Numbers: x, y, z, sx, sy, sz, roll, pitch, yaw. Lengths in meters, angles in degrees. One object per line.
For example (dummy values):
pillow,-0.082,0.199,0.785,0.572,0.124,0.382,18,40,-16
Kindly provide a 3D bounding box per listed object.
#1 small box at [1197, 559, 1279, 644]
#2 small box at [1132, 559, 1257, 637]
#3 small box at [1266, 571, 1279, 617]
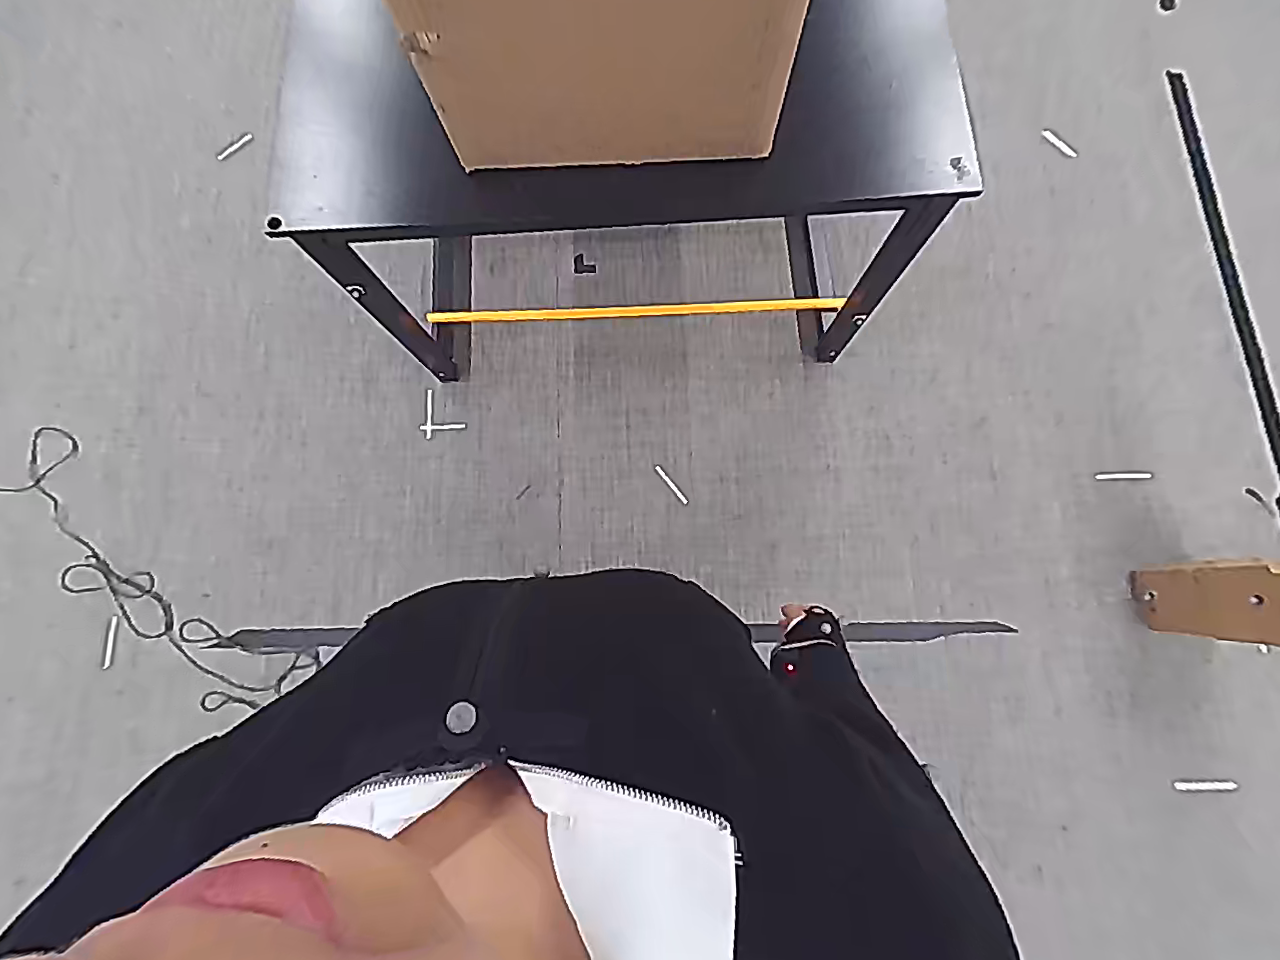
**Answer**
small box,1.422,0.270,1.212,0.168,0.176,0.179,-7,79,1
small box,1.425,0.297,1.374,0.179,0.176,0.168,-9,78,1
small box,1.413,0.246,1.049,0.179,0.176,0.168,-10,78,0
